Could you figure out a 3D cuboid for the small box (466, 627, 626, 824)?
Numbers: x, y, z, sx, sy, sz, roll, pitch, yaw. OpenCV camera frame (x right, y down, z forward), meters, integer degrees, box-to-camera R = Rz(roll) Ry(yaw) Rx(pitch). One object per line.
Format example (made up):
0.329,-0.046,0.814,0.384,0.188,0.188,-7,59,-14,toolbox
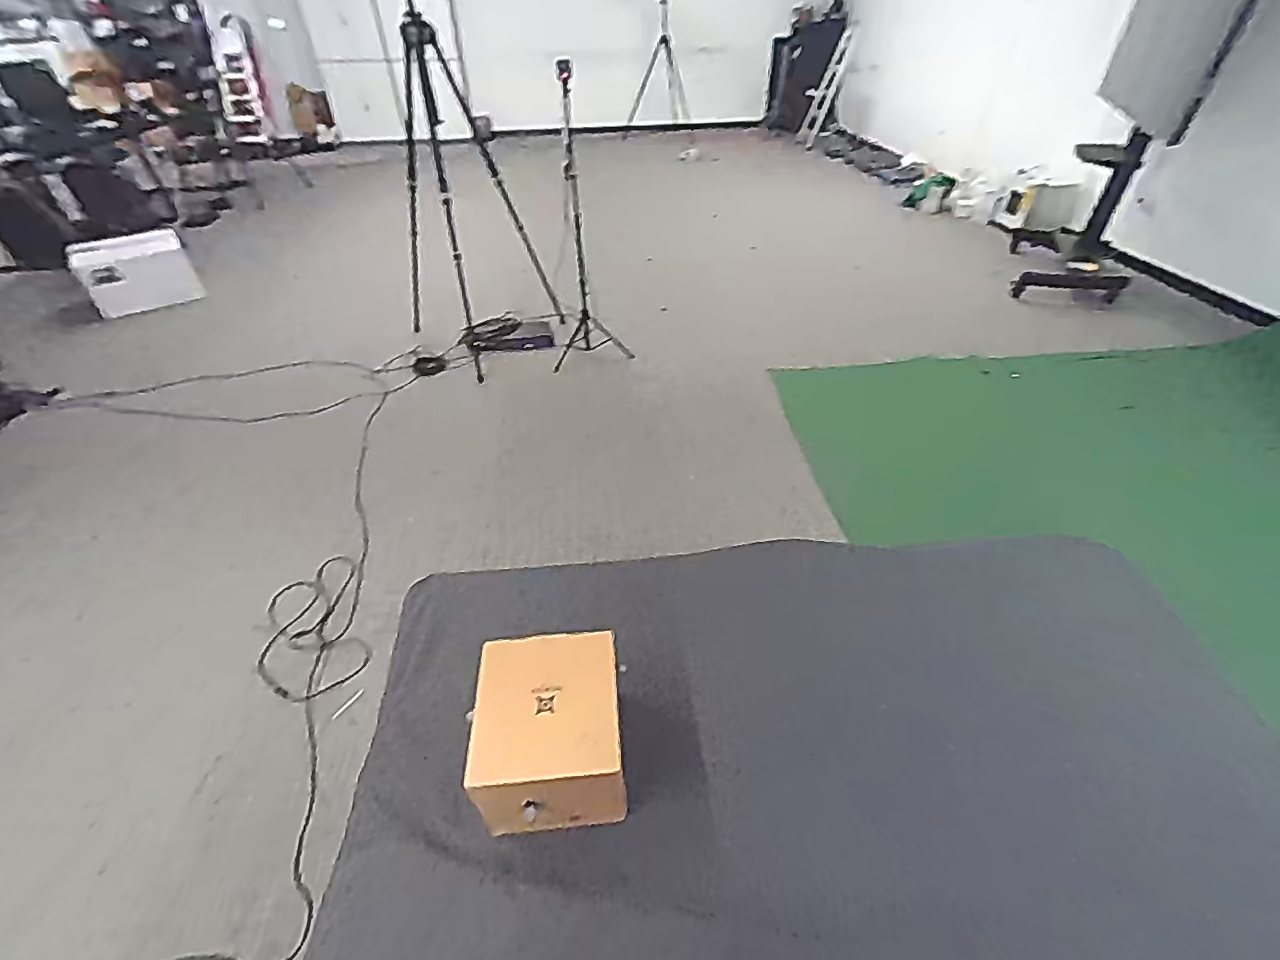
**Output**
-0.107,0.312,0.682,0.168,0.176,0.179,-4,41,-4,small box
